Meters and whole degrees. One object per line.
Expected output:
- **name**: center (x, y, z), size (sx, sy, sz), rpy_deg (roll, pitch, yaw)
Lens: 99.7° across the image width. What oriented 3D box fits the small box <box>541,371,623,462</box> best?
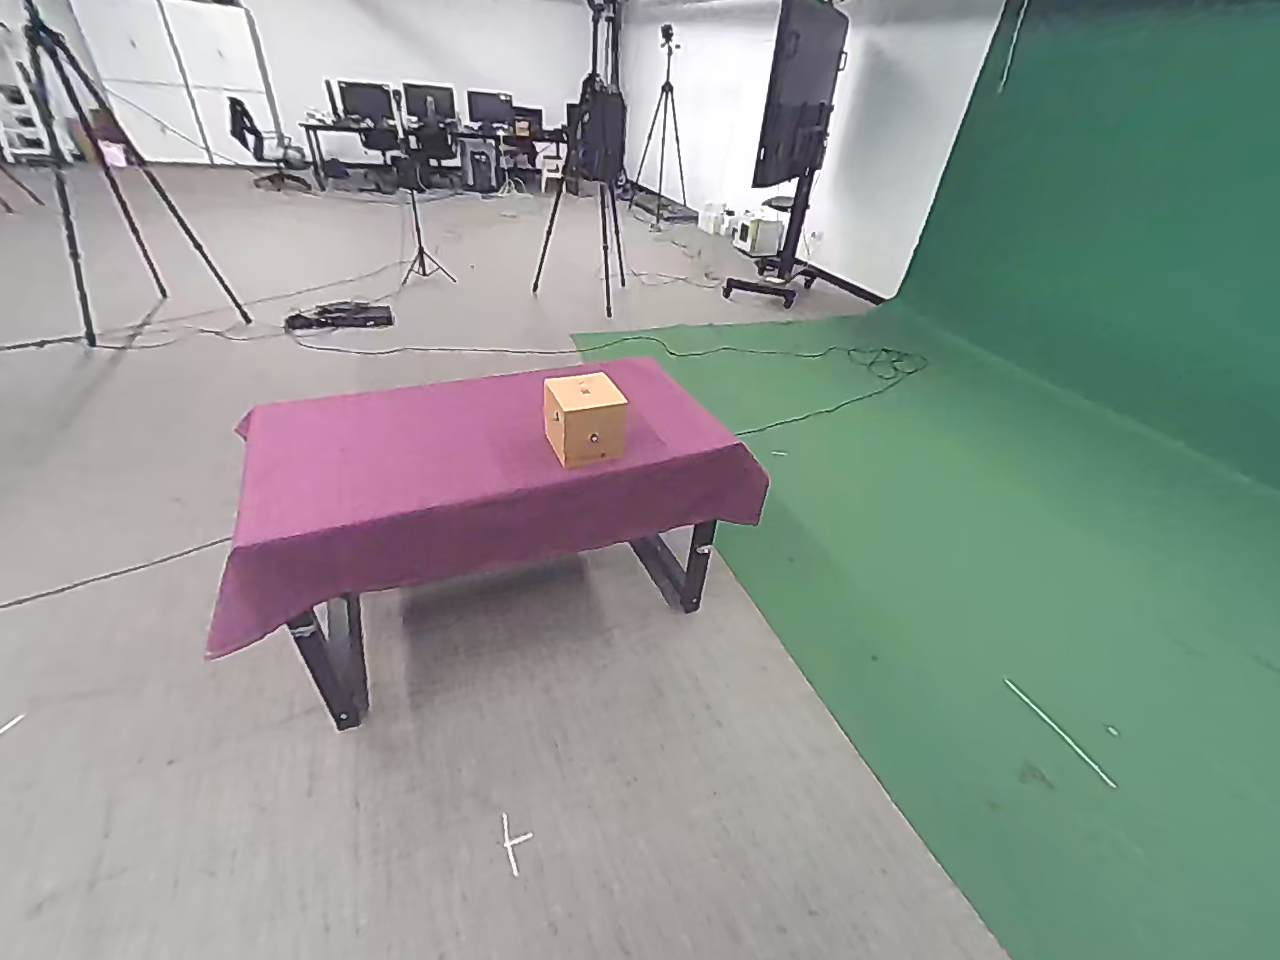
- **small box**: center (-0.151, -0.160, 1.398), size (0.168, 0.176, 0.179), rpy_deg (-11, 40, -22)
